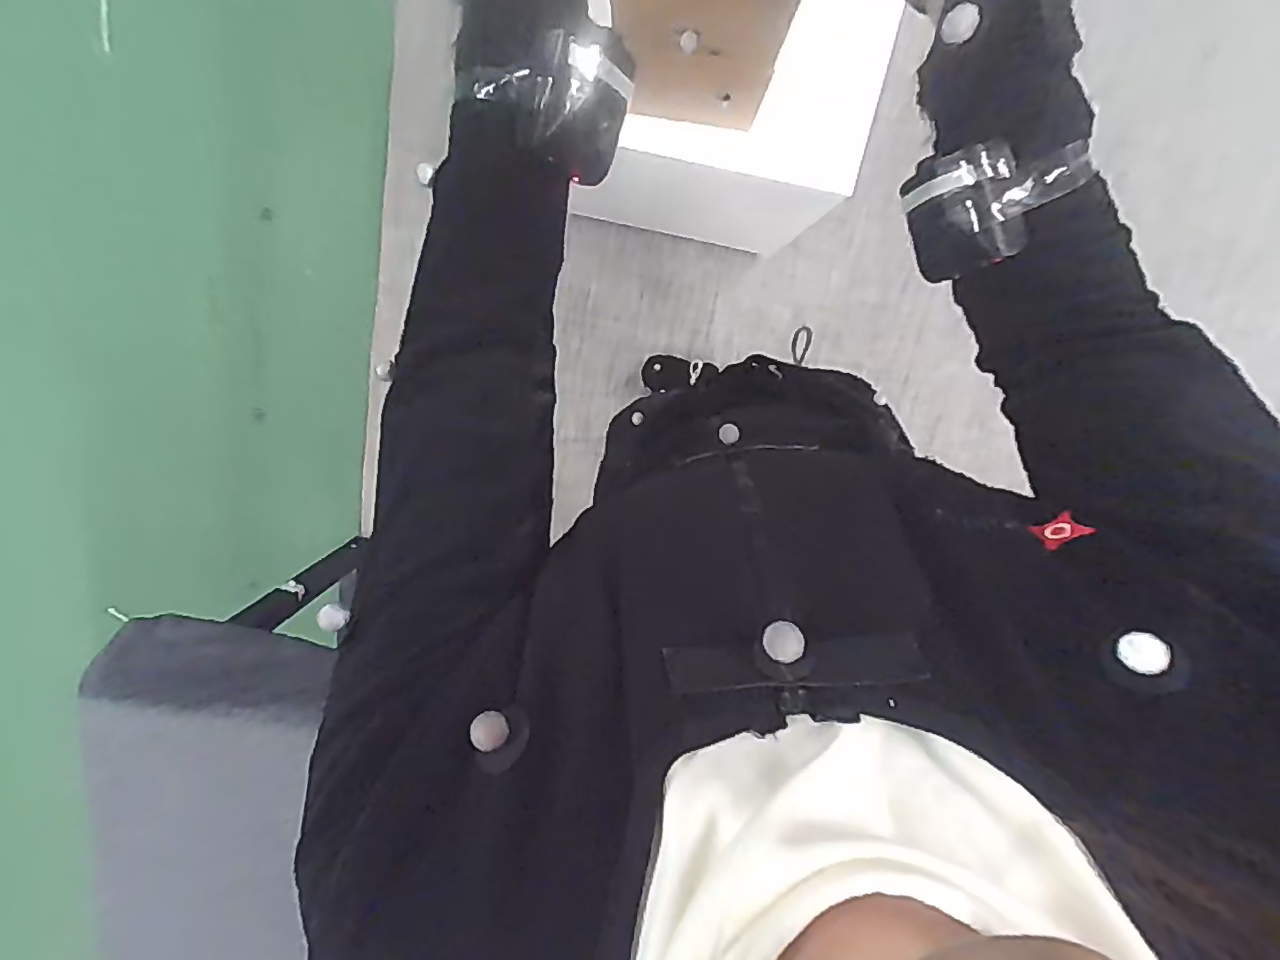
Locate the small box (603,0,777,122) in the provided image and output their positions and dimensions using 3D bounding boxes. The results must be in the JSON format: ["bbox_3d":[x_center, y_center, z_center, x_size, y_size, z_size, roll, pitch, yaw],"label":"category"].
[{"bbox_3d":[0.065,-0.527,0.602,0.179,0.176,0.168,9,104,2],"label":"small box"}]

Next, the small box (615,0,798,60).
[{"bbox_3d":[0.062,-0.494,0.441,0.168,0.176,0.179,7,103,1],"label":"small box"}]
